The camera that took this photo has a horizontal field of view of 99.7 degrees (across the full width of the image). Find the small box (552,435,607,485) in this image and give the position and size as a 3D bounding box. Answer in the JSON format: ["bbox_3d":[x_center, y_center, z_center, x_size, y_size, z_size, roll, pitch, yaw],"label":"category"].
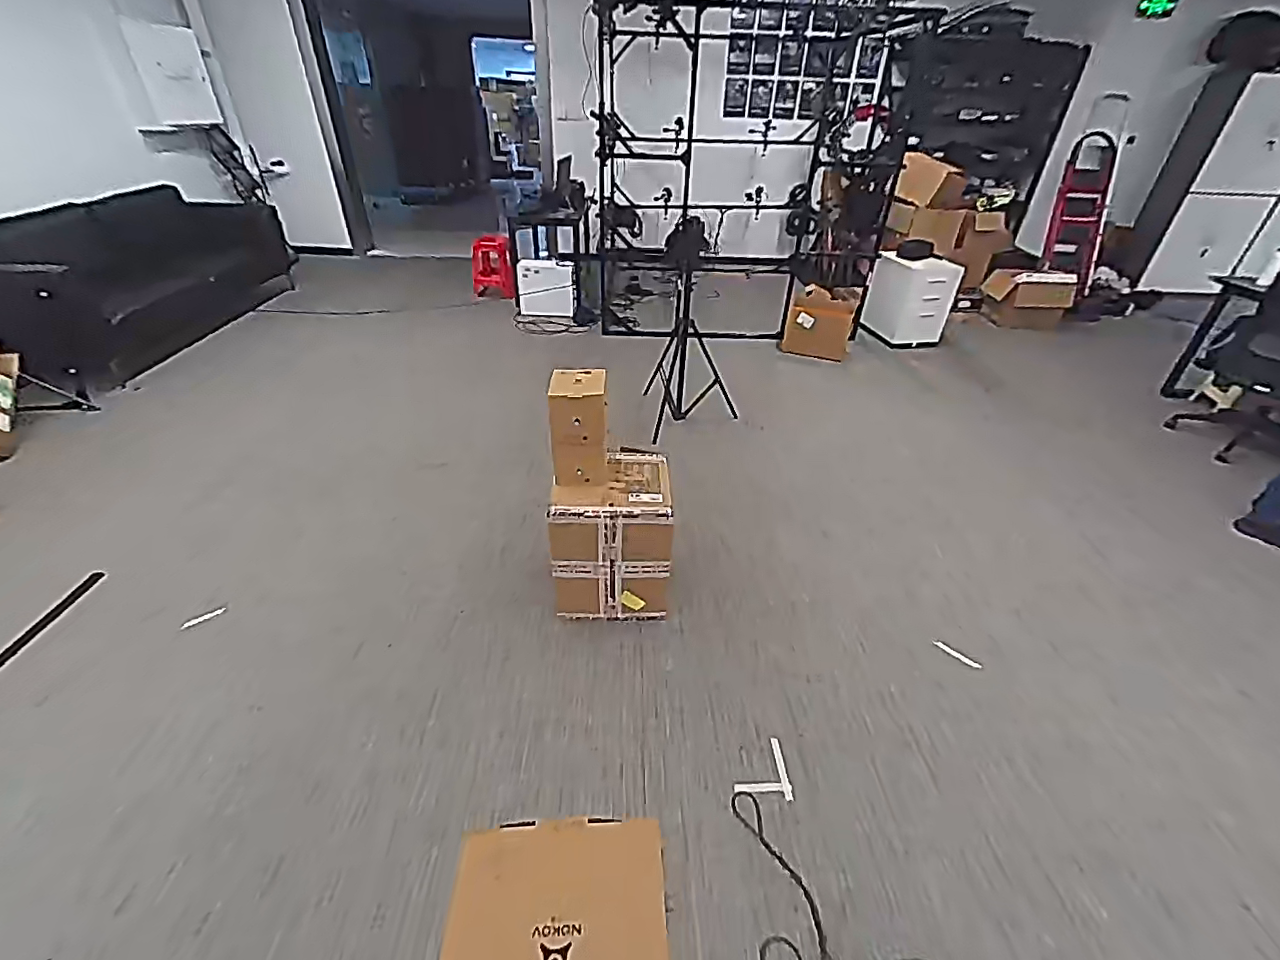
[{"bbox_3d":[-0.196,-0.099,1.788,0.168,0.176,0.179,-2,37,-1],"label":"small box"}]

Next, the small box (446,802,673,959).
[{"bbox_3d":[-0.061,0.397,0.449,0.168,0.176,0.179,-1,40,-3],"label":"small box"}]

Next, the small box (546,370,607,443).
[{"bbox_3d":[-0.191,-0.226,1.682,0.168,0.176,0.179,-1,38,-1],"label":"small box"}]
